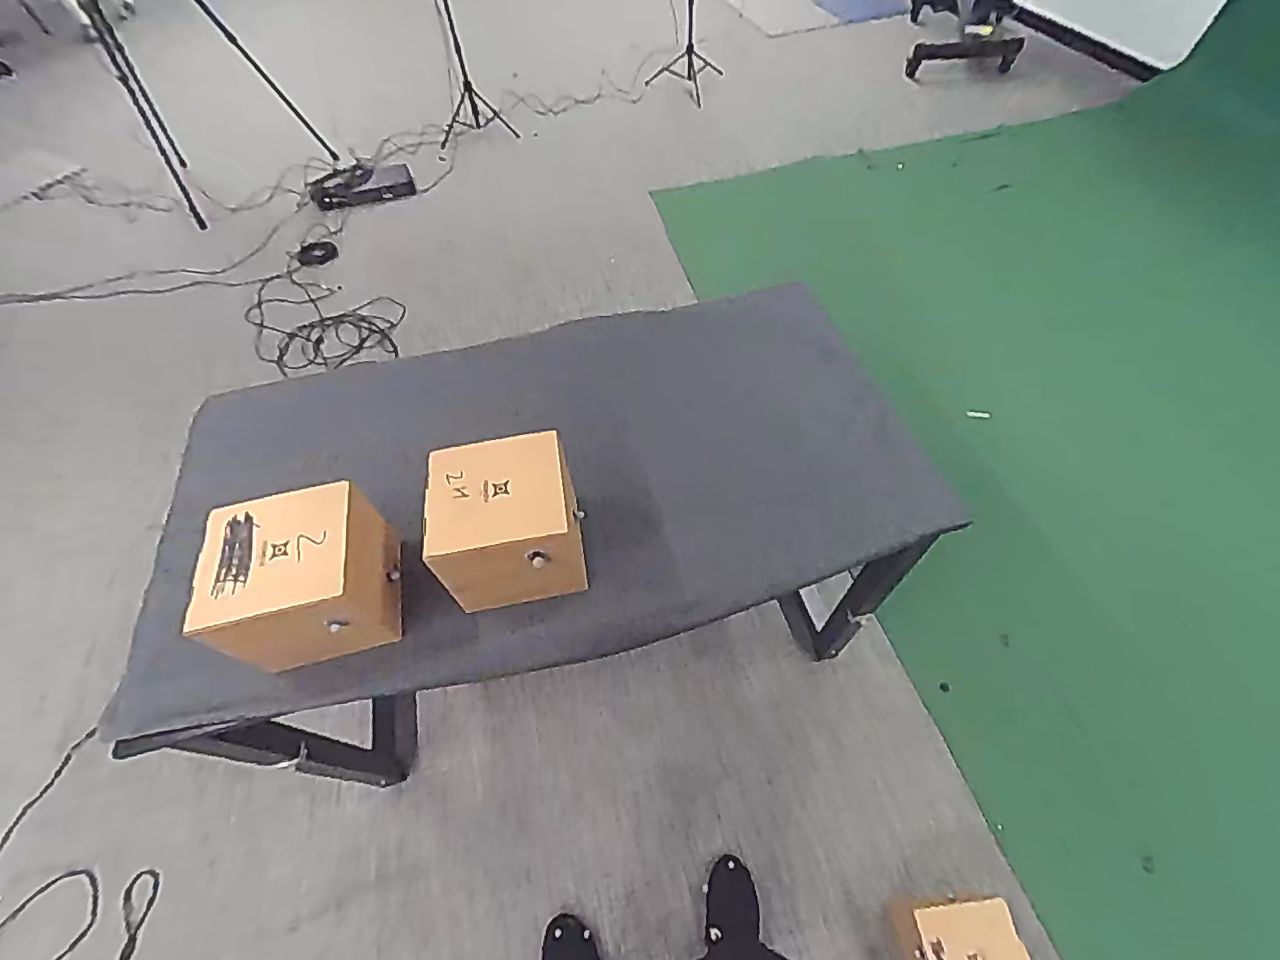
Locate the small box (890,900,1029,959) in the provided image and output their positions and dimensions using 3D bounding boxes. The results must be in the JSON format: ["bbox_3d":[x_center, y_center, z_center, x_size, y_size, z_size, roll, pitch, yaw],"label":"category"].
[{"bbox_3d":[0.603,0.903,1.010,0.179,0.176,0.168,-7,56,-1],"label":"small box"}]

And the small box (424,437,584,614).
[{"bbox_3d":[-0.176,0.067,0.747,0.179,0.176,0.168,-10,54,-2],"label":"small box"}]
